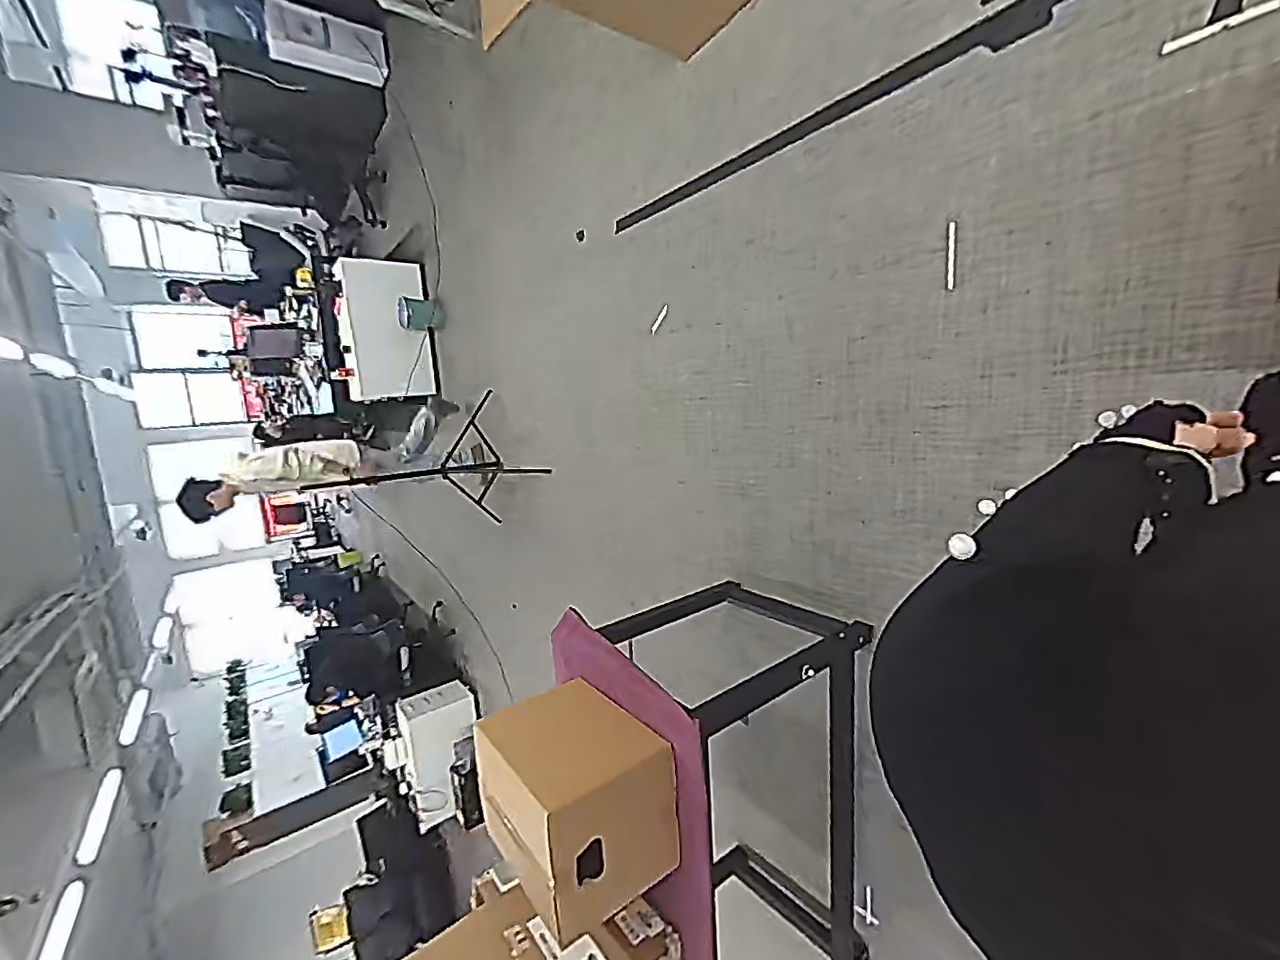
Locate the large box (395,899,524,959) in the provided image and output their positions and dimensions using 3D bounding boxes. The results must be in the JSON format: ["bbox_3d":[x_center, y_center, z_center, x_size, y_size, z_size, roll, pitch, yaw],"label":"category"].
[{"bbox_3d":[-0.380,1.284,1.205,0.408,0.320,0.320,11,111,52],"label":"large box"}]
